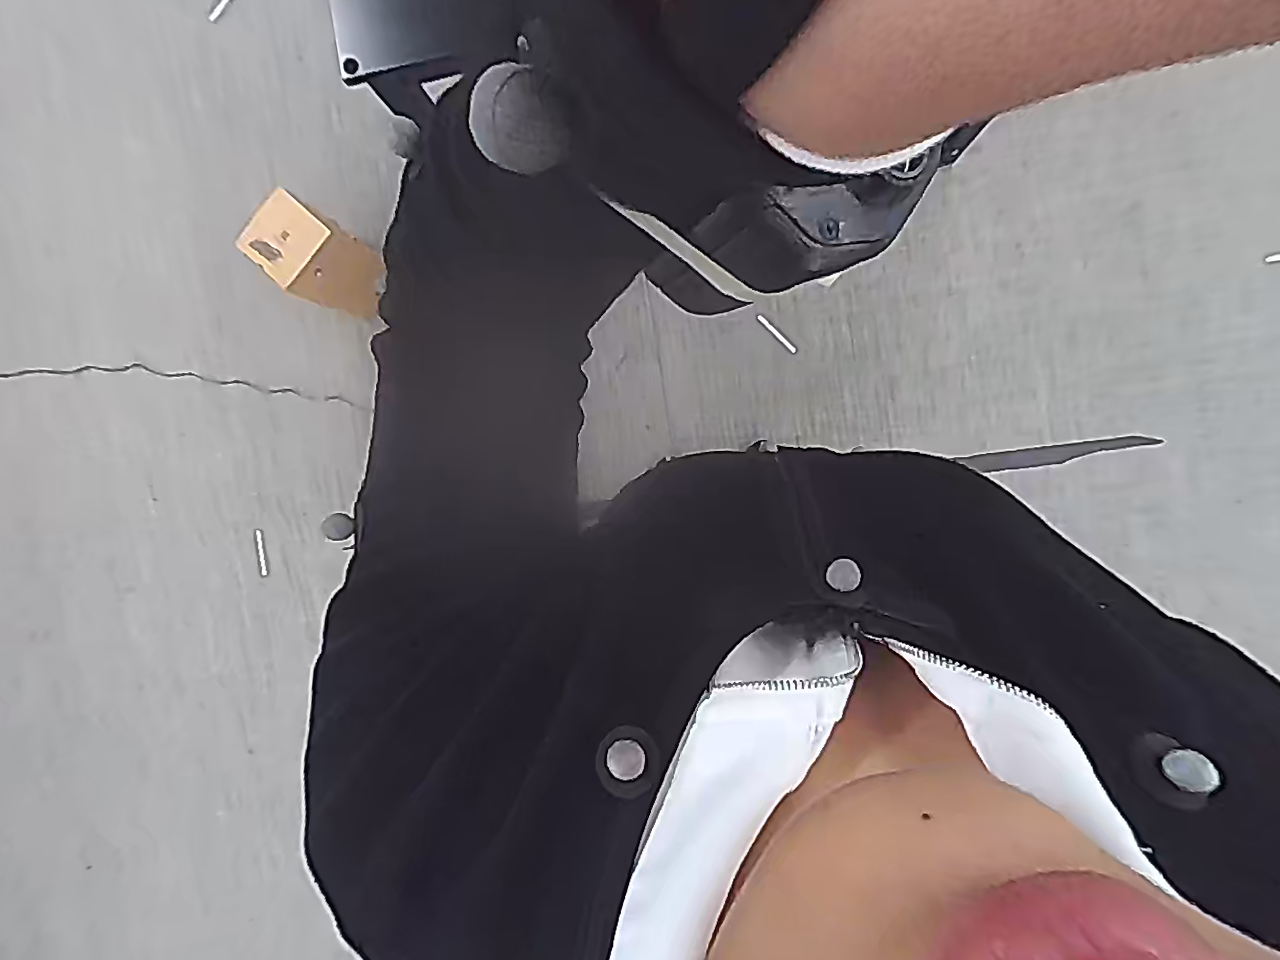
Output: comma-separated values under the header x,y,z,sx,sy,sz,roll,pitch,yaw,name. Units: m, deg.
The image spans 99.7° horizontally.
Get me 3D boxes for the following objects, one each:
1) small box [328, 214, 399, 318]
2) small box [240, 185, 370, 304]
x,y,z,sx,sy,sz,roll,pitch,yaw,name
-0.797,-0.579,1.484,0.168,0.176,0.179,40,94,3,small box
-0.804,-0.561,1.319,0.168,0.176,0.179,42,95,2,small box
